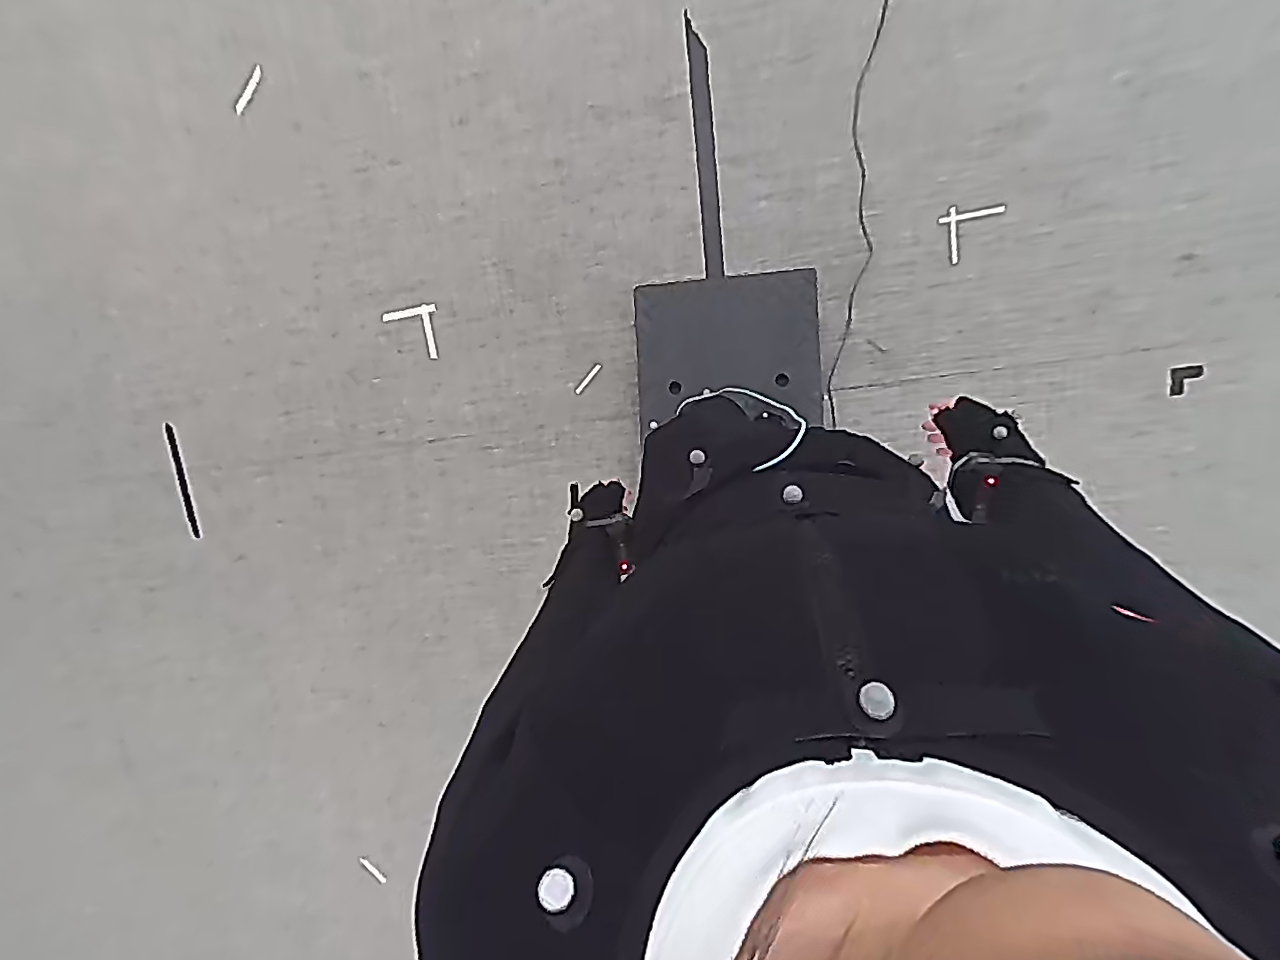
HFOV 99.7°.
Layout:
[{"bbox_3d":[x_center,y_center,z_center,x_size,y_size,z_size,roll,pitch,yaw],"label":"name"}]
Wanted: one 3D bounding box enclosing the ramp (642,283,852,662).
[{"bbox_3d":[0.271,-0.017,1.462,0.509,0.206,0.991,-6,96,11],"label":"ramp"}]
